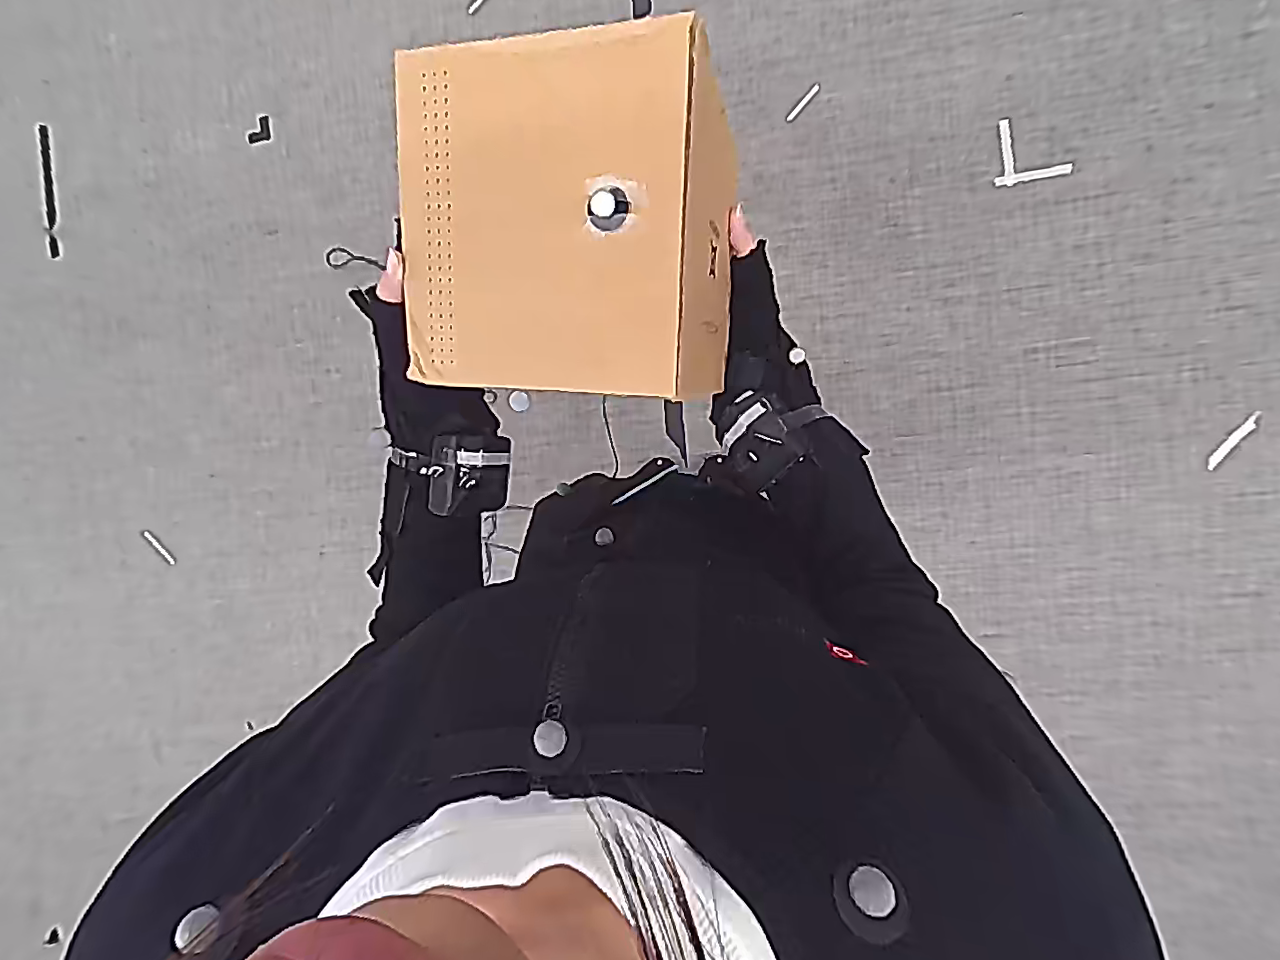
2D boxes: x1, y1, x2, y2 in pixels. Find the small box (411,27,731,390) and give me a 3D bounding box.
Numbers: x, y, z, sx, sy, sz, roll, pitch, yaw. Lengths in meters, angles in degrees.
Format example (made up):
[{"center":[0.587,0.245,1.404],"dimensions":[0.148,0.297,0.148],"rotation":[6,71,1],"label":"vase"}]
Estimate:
[{"center":[-0.035,-0.152,0.369],"dimensions":[0.176,0.168,0.179],"rotation":[6,101,16],"label":"small box"}]
